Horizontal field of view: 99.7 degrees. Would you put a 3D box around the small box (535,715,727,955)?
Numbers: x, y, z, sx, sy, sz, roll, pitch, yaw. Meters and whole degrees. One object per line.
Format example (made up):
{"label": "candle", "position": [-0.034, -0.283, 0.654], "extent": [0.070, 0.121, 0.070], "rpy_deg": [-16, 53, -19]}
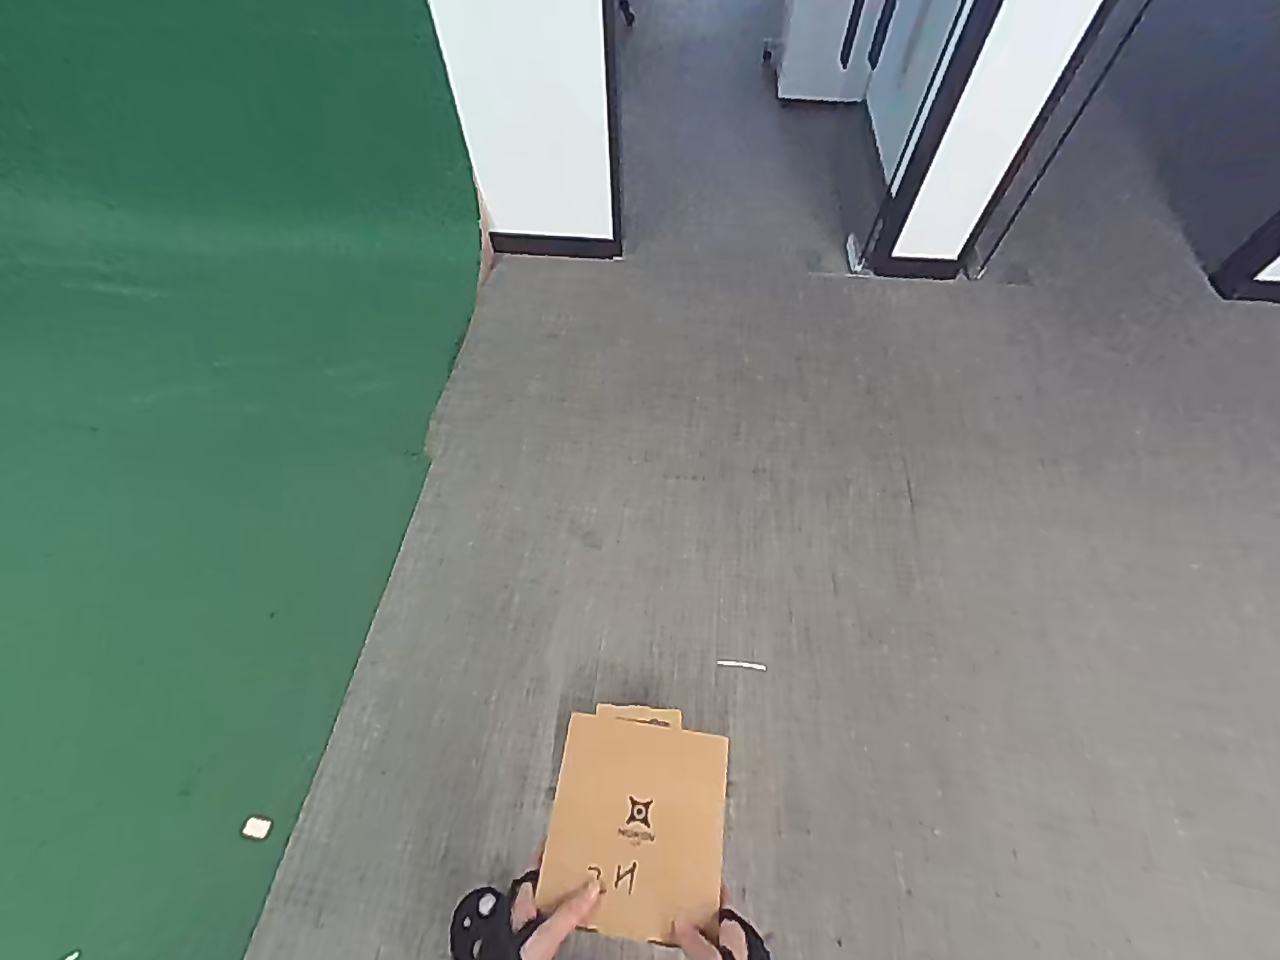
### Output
{"label": "small box", "position": [-0.002, 0.374, 0.591], "extent": [0.168, 0.176, 0.179], "rpy_deg": [7, 59, 6]}
